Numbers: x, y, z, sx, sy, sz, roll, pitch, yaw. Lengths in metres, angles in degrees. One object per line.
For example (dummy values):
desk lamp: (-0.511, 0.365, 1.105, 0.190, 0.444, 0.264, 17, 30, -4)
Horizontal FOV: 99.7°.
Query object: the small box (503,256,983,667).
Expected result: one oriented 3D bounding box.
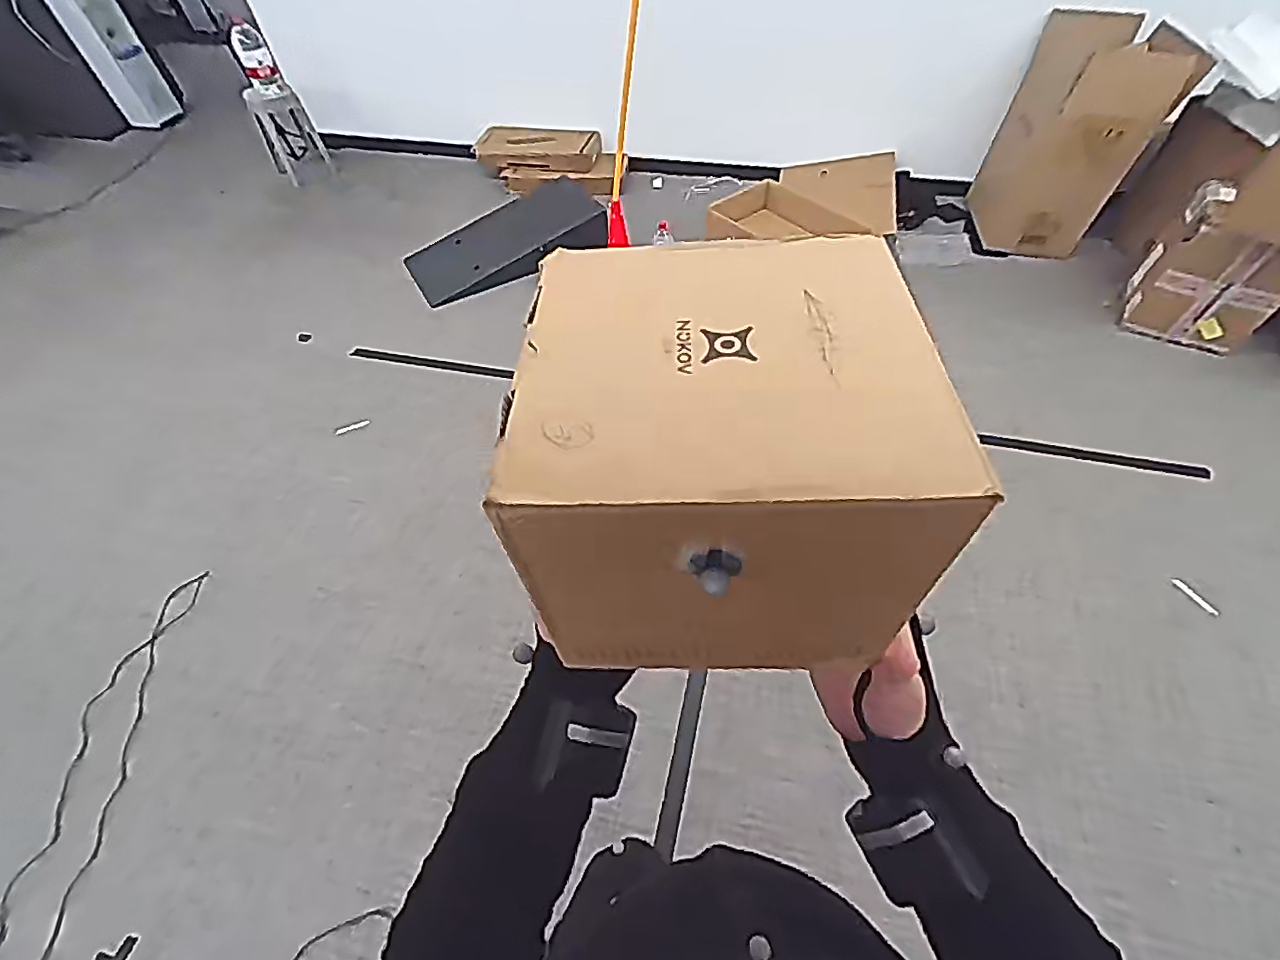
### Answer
small box: (0.042, -0.002, 0.305, 0.179, 0.176, 0.168, -1, 53, 3)
